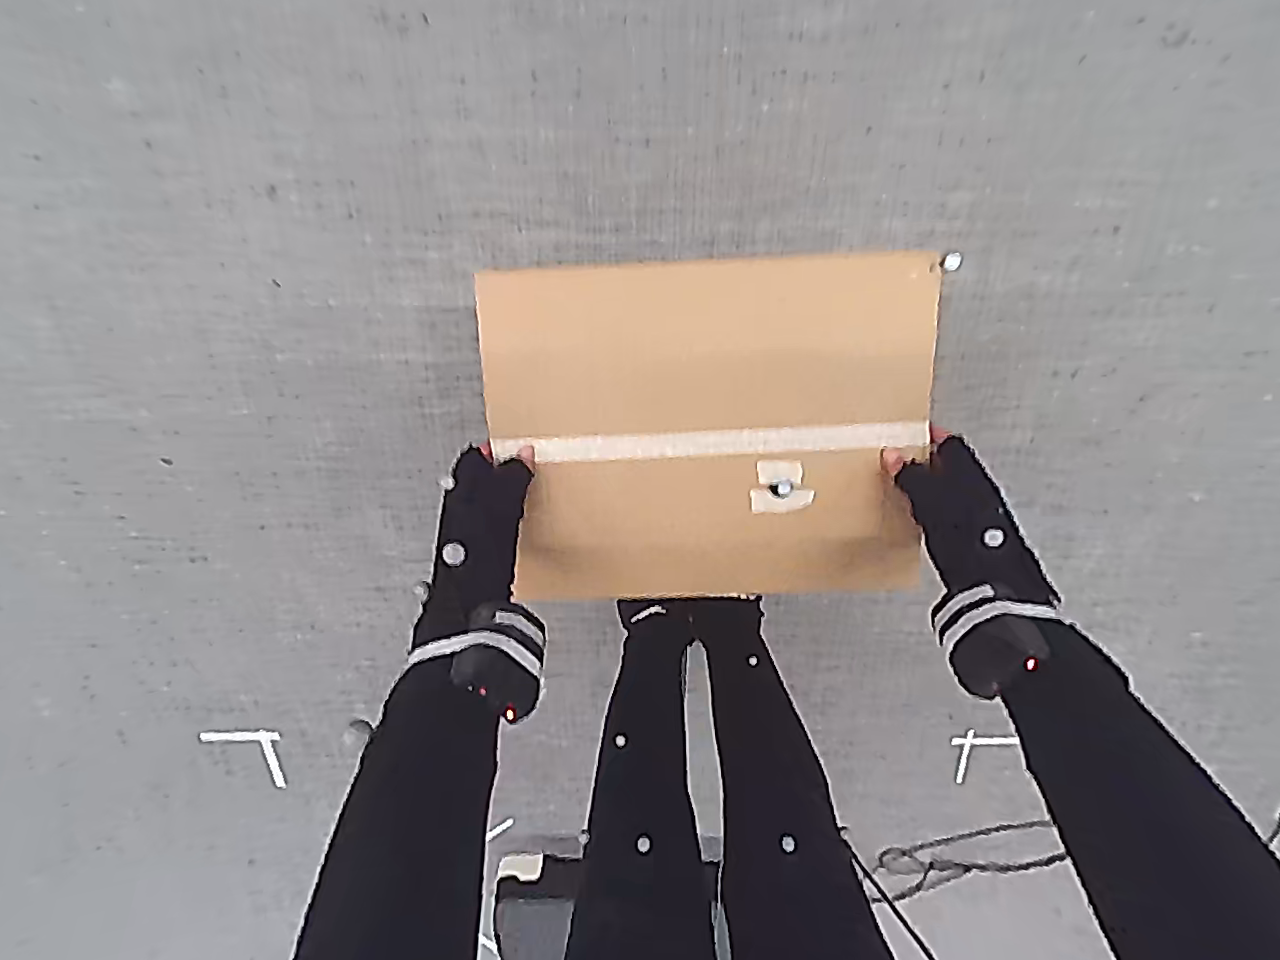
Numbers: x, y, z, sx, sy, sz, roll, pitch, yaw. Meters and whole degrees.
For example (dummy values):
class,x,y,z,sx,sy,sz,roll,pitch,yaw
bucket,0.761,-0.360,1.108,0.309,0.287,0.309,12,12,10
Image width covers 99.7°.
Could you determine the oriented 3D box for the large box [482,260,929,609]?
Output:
class,x,y,z,sx,sy,sz,roll,pitch,yaw
large box,0.064,-0.063,0.653,0.408,0.320,0.320,-3,103,1
